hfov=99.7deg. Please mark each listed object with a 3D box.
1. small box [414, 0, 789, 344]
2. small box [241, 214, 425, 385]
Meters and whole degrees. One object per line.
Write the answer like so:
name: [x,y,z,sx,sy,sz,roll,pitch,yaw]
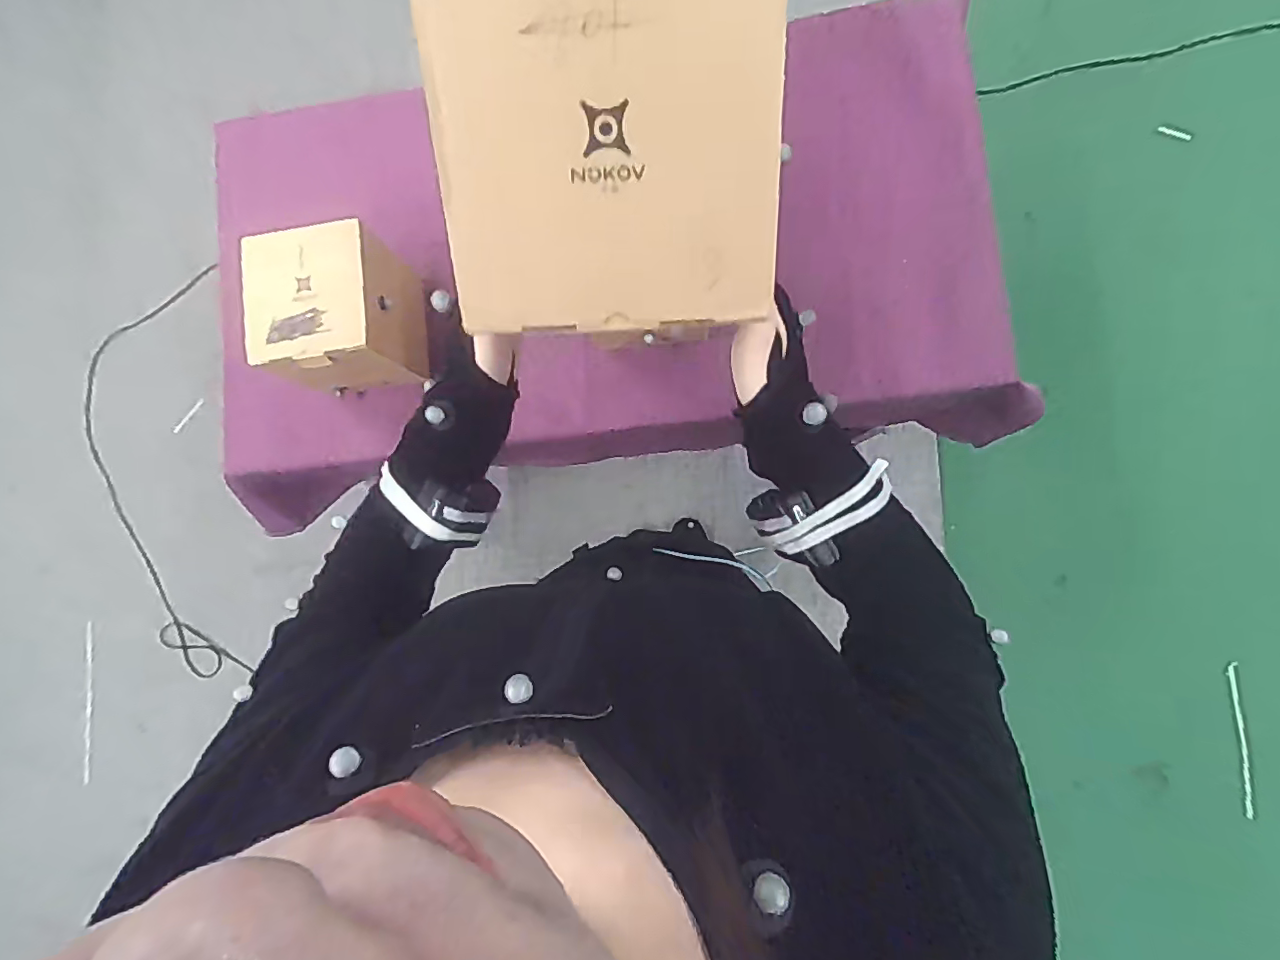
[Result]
small box: [-0.014,-0.187,0.330,0.168,0.176,0.179,-1,113,1]
small box: [-0.425,-0.242,0.774,0.168,0.176,0.179,-7,84,5]
